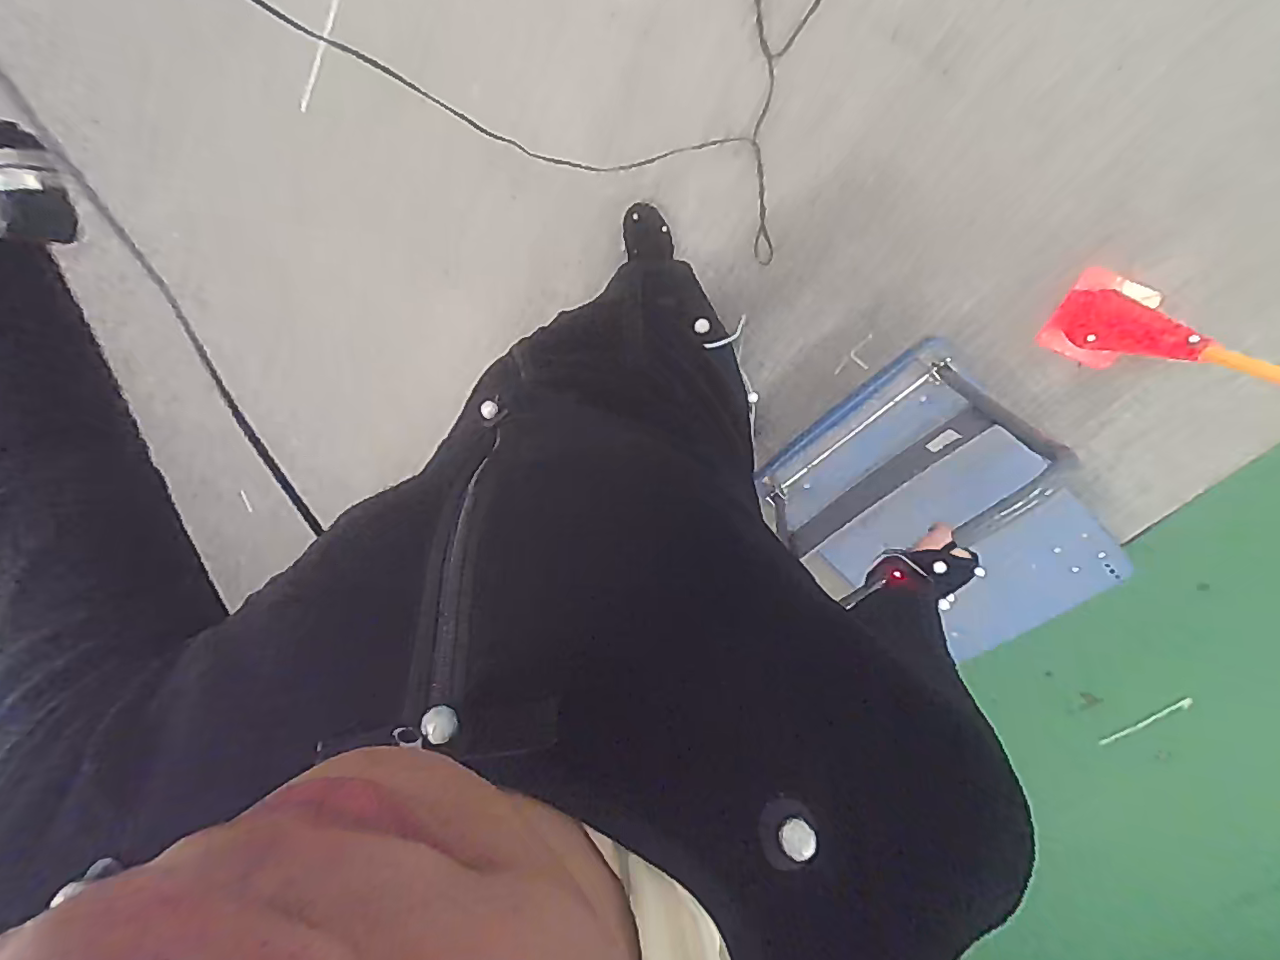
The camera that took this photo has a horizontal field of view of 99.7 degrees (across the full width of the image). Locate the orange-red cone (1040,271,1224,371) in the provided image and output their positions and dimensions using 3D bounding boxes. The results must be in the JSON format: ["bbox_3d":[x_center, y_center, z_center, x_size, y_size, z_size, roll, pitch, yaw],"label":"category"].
[{"bbox_3d":[1.099,-0.311,1.171,0.198,0.360,0.199,23,116,-3],"label":"orange-red cone"}]
